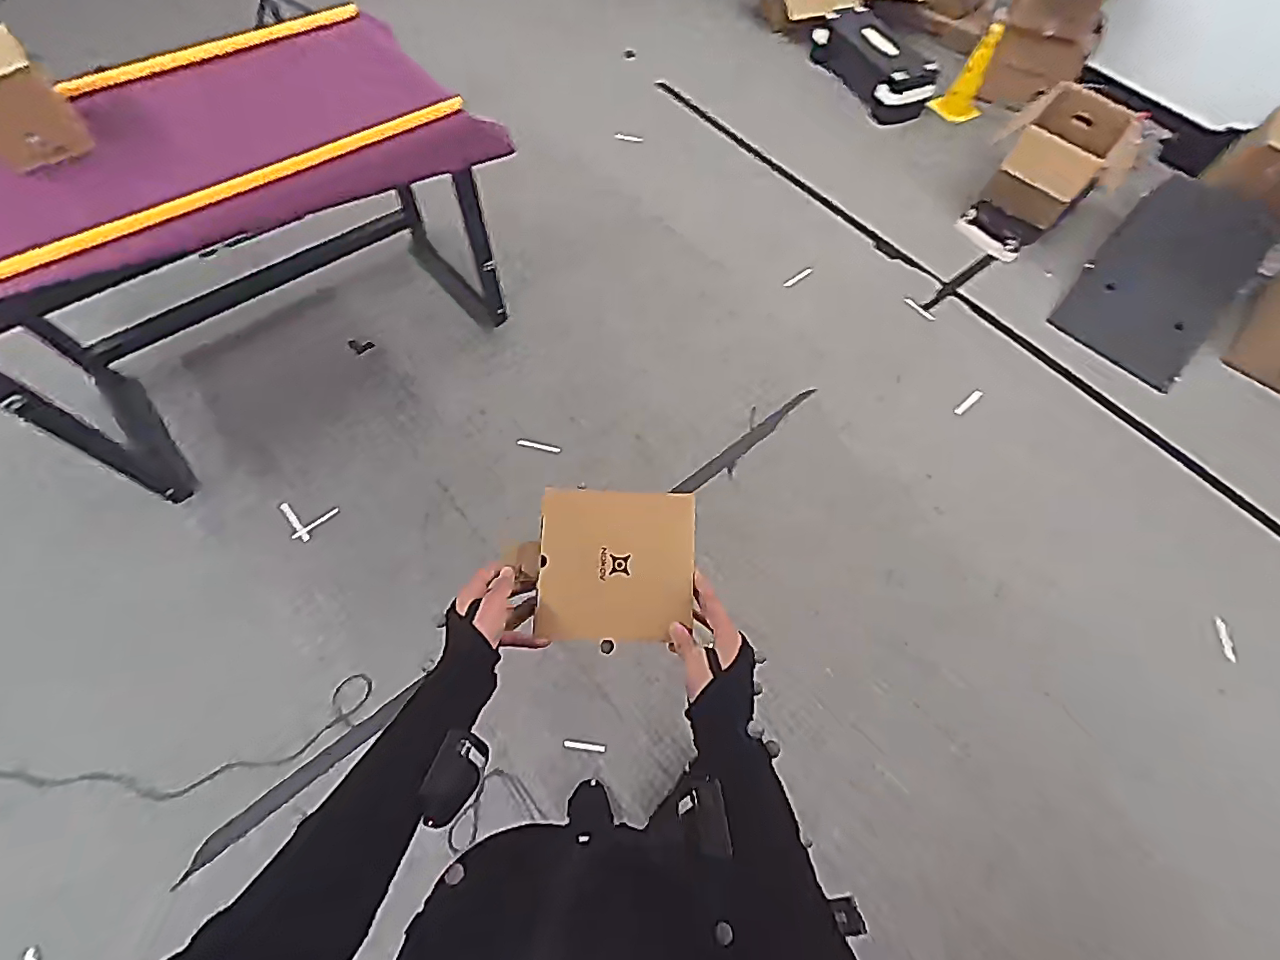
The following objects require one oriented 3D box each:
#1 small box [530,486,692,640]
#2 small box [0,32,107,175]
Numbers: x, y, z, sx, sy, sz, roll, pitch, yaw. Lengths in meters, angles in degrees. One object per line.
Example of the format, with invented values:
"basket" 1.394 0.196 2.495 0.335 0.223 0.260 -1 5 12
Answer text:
"small box" -0.029 0.105 0.678 0.179 0.176 0.168 1 79 3
"small box" -1.303 -0.790 1.142 0.168 0.176 0.179 -35 73 -18
